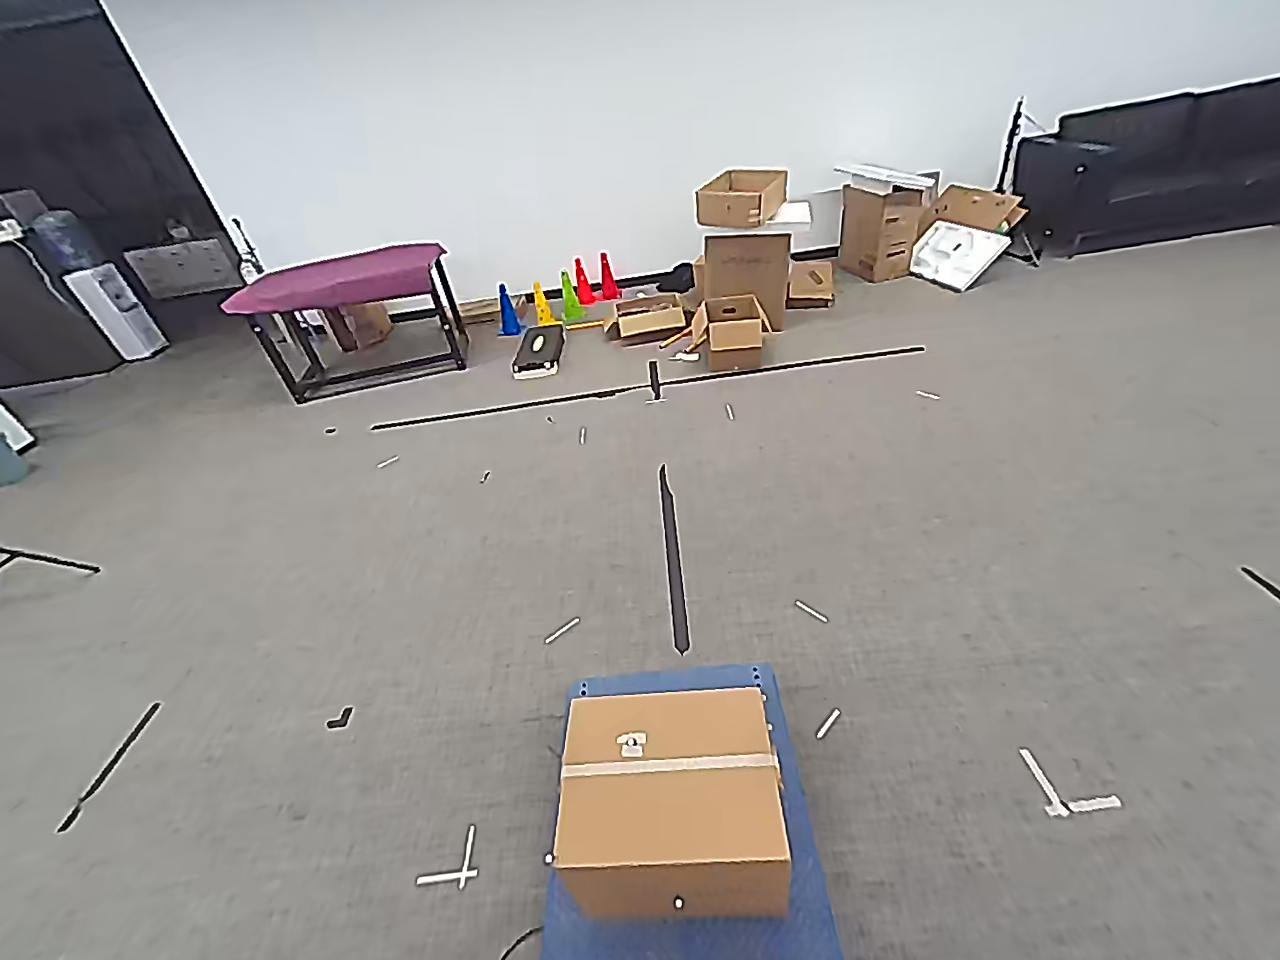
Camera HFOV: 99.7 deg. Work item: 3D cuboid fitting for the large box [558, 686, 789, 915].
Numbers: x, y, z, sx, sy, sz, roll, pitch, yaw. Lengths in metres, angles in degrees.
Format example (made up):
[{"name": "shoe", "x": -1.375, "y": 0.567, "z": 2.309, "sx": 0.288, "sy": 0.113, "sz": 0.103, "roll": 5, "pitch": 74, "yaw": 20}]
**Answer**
[{"name": "large box", "x": 0.074, "y": 0.668, "z": 1.126, "sx": 0.408, "sy": 0.320, "sz": 0.320, "roll": -7, "pitch": 36, "yaw": 5}]
